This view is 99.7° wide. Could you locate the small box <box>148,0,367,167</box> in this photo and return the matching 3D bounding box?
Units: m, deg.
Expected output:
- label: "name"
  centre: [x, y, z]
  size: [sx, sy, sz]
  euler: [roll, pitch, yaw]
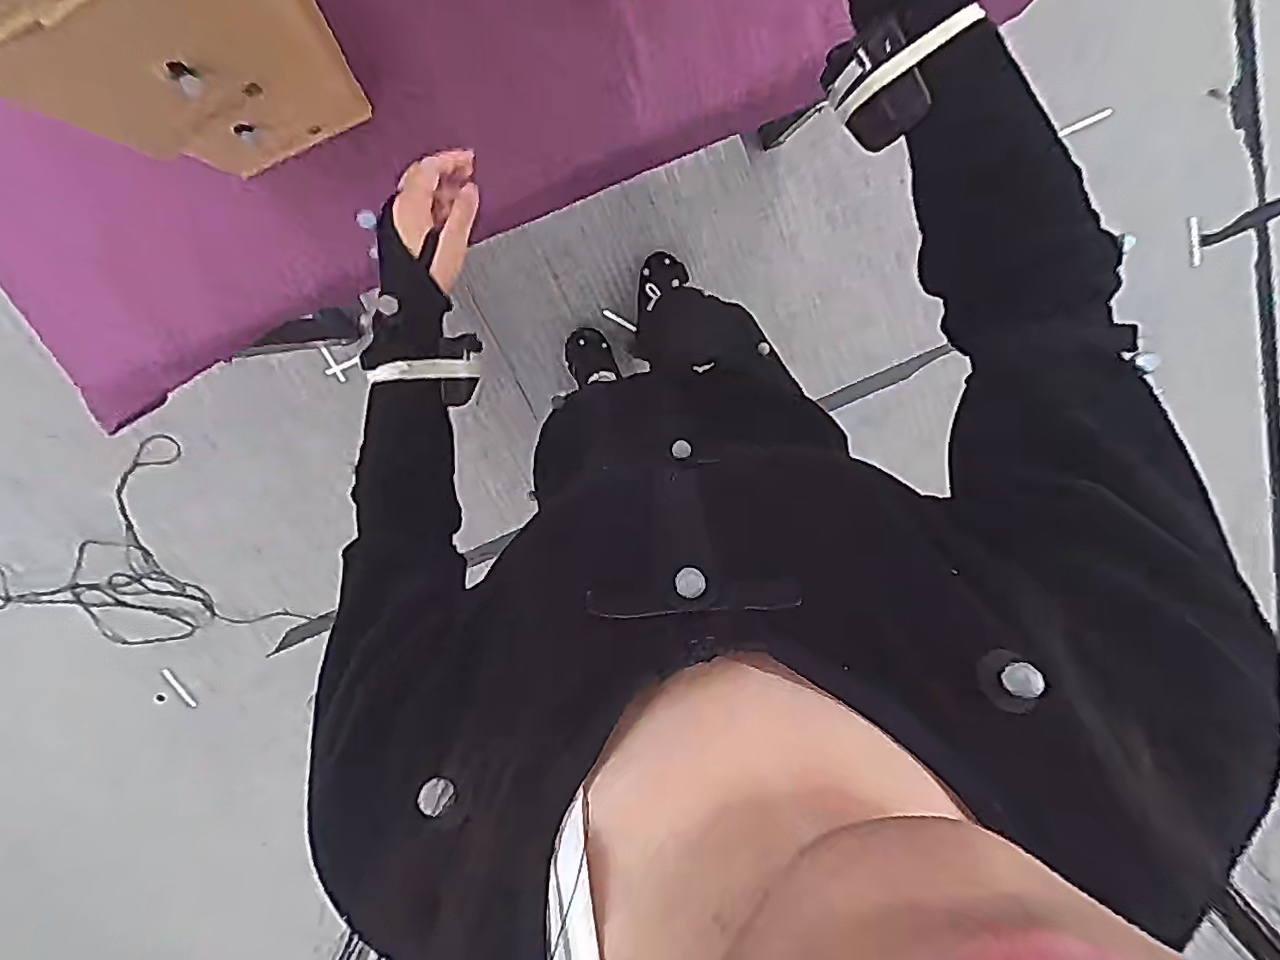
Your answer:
- label: "small box"
  centre: [-0.396, -0.422, 0.507]
  size: [0.168, 0.176, 0.179]
  euler: [-25, 107, 1]
